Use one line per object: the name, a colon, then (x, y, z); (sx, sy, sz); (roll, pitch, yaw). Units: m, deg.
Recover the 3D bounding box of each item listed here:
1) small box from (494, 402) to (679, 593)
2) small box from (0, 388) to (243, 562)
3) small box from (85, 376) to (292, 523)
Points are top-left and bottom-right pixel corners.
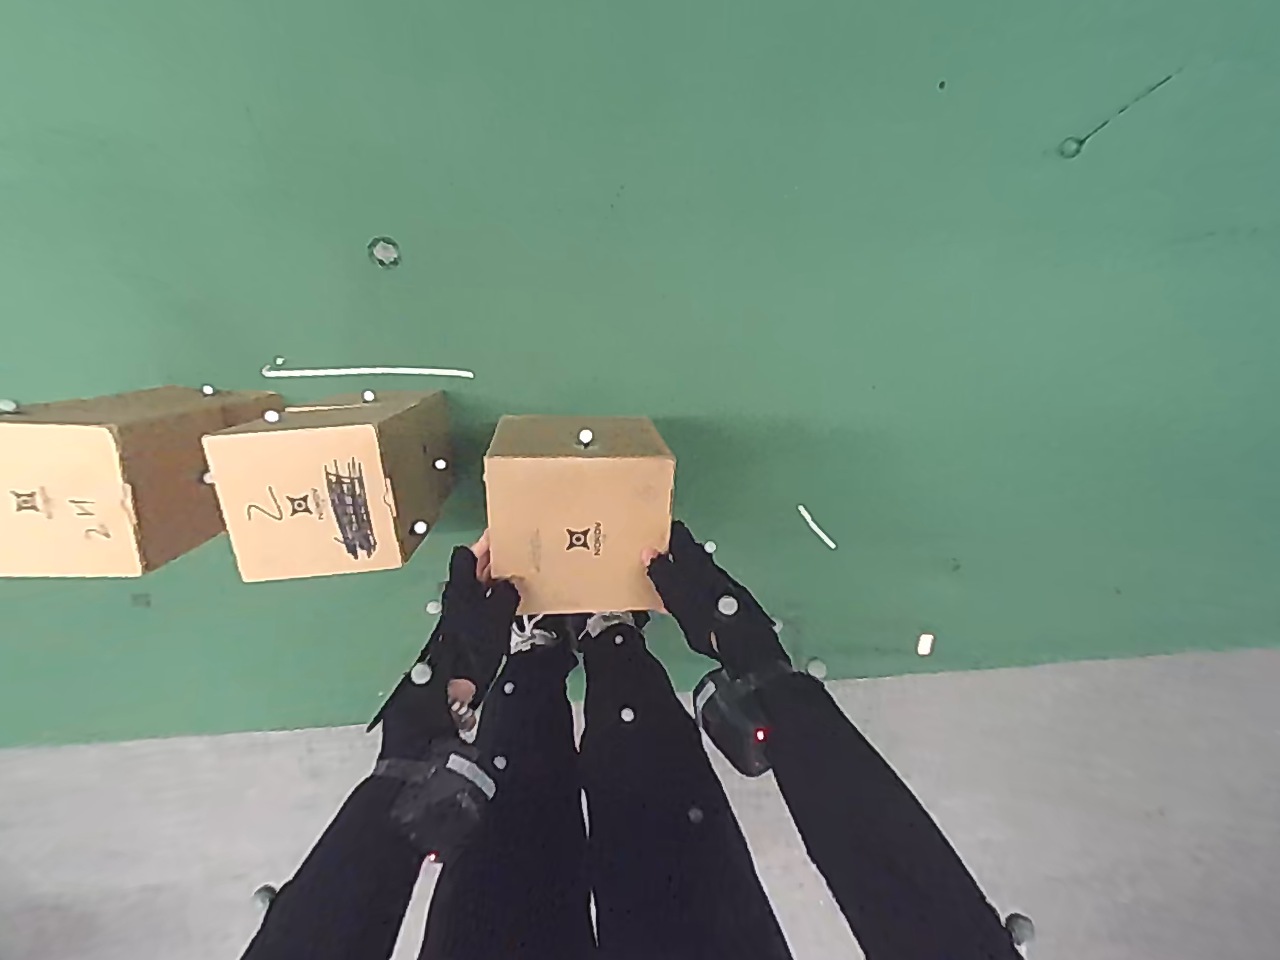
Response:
small box: (-0.066, 0.011, 0.602); (0.179, 0.176, 0.168); (1, 109, -9)
small box: (-0.615, -0.015, 0.633); (0.179, 0.176, 0.168); (2, 106, -6)
small box: (-0.640, -0.051, 0.792); (0.168, 0.176, 0.179); (3, 105, -7)
